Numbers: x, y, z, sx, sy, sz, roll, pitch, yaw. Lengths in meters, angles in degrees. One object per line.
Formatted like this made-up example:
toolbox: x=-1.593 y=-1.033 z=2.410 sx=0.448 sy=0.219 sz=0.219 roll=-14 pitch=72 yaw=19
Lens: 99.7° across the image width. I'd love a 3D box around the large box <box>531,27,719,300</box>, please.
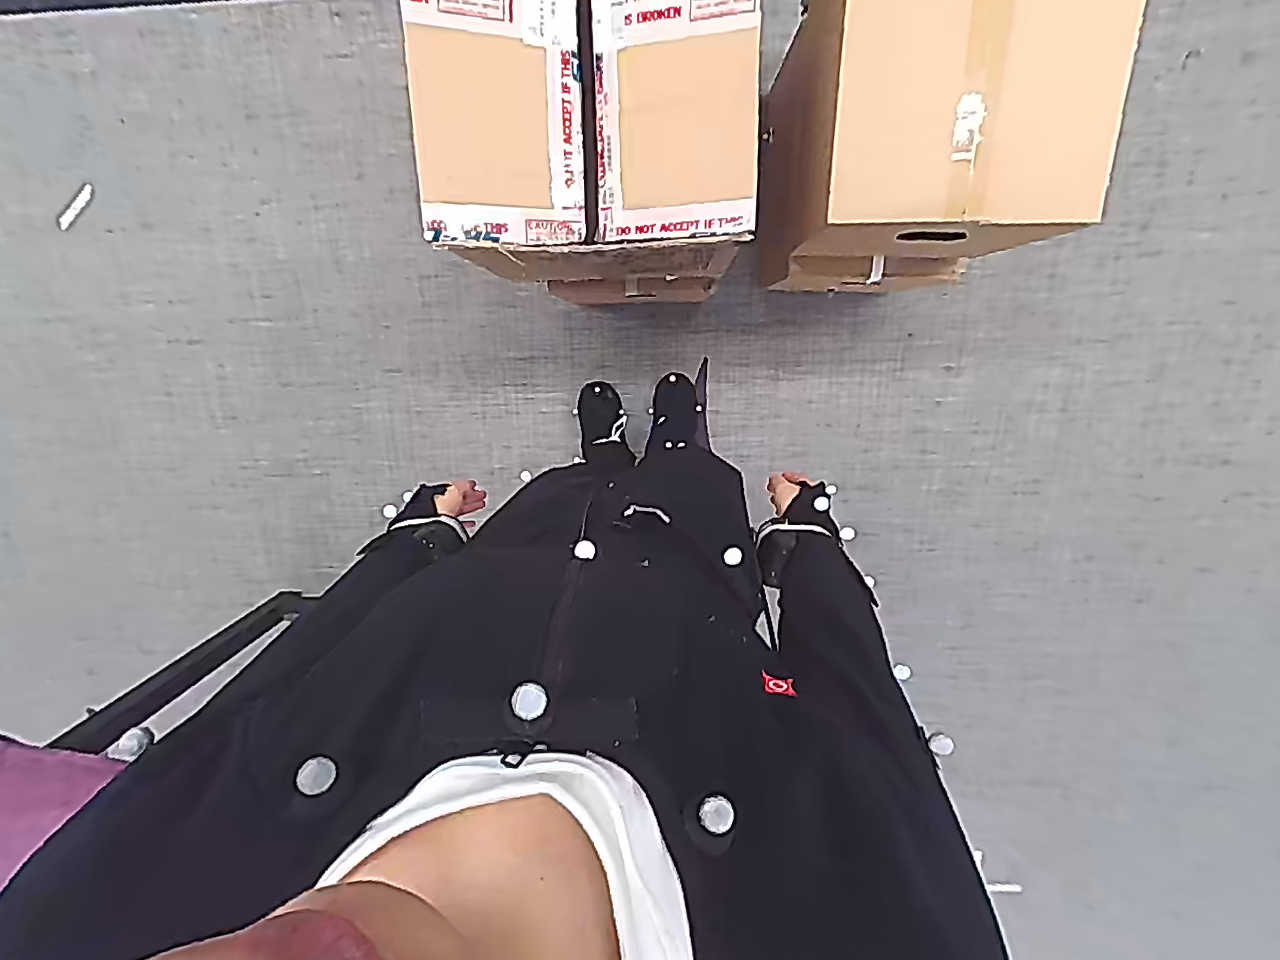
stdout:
large box: x=-0.014 y=-0.582 z=1.080 sx=0.320 sy=0.320 sz=0.408 roll=-1 pitch=105 yaw=4
